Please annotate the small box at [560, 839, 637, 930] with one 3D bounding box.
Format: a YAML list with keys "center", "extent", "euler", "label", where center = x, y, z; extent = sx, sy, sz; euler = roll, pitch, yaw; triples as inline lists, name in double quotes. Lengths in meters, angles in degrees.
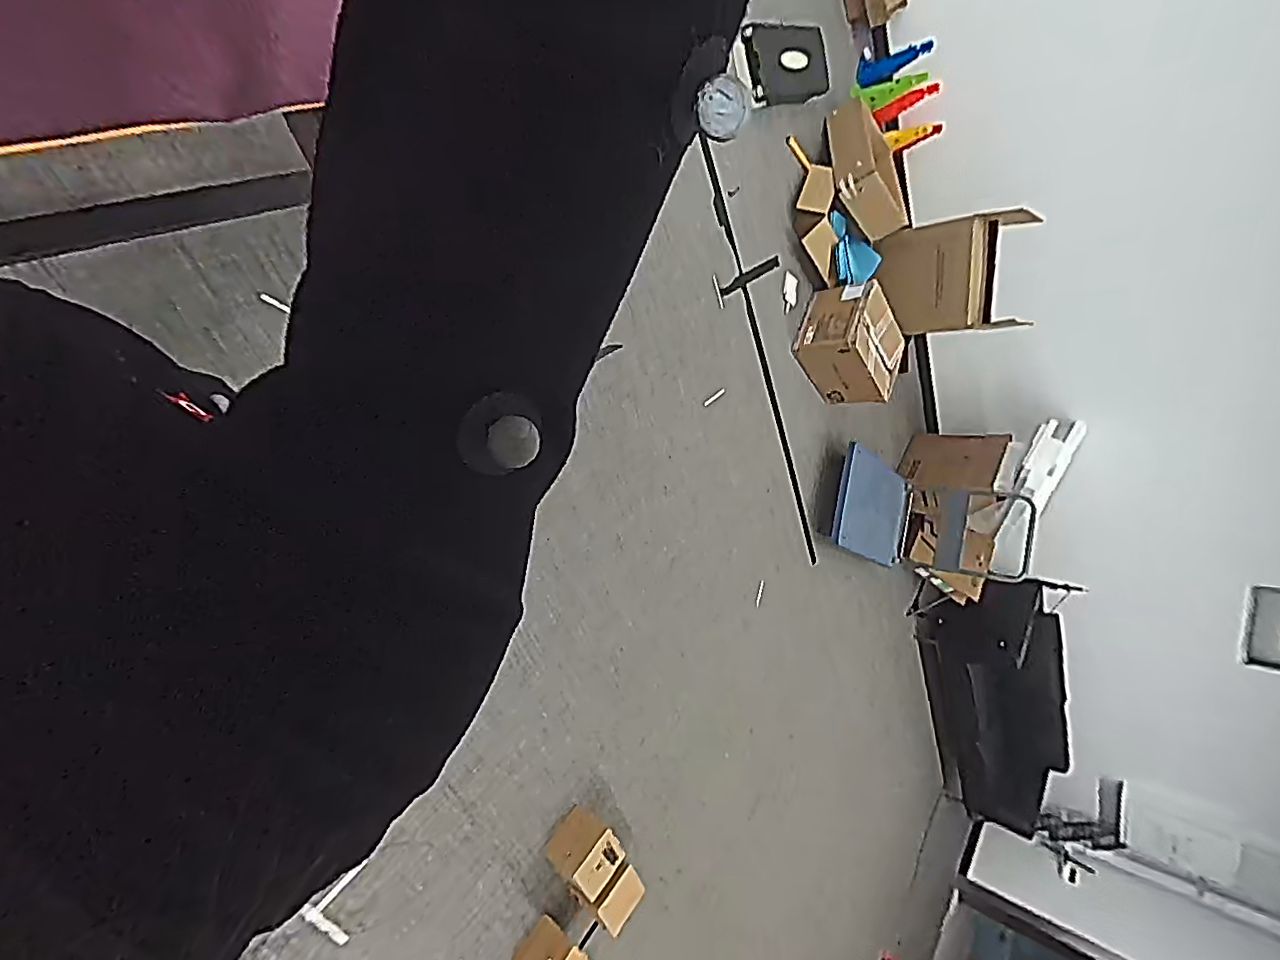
- center: [-0.143, 1.434, 1.908]
  extent: [0.179, 0.176, 0.168]
  euler: [-39, 120, -36]
  label: "small box"

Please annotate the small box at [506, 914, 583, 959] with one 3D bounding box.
- center: [-0.313, 1.577, 1.754]
  extent: [0.179, 0.176, 0.168]
  euler: [-45, 123, -34]
  label: "small box"
